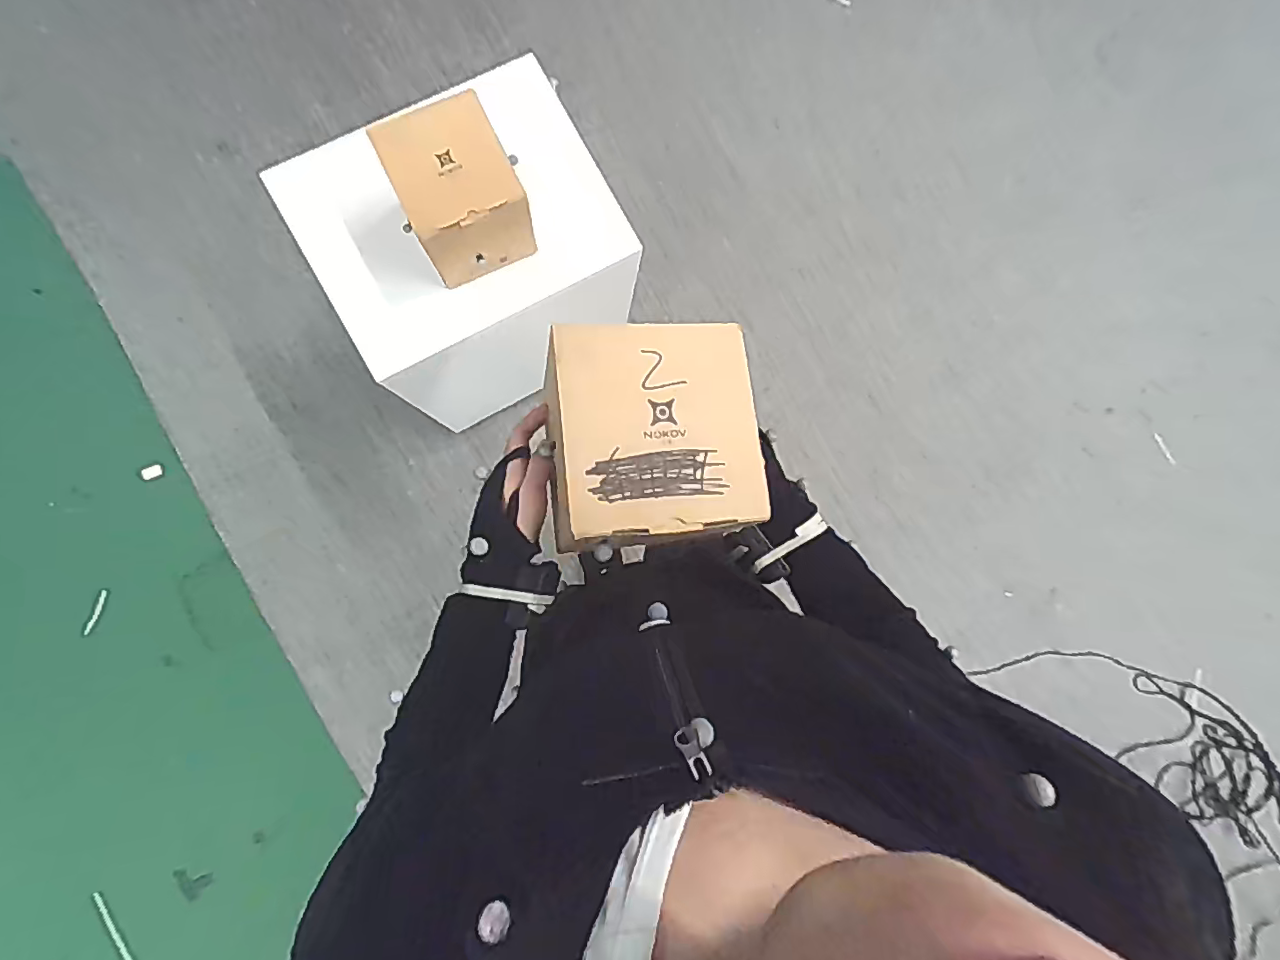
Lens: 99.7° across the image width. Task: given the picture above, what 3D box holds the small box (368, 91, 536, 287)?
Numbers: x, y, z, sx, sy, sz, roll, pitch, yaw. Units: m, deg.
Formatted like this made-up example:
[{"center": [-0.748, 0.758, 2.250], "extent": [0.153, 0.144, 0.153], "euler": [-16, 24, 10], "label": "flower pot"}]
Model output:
[{"center": [-0.275, -0.433, 0.830], "extent": [0.168, 0.176, 0.179], "euler": [-27, 89, -7], "label": "small box"}]
